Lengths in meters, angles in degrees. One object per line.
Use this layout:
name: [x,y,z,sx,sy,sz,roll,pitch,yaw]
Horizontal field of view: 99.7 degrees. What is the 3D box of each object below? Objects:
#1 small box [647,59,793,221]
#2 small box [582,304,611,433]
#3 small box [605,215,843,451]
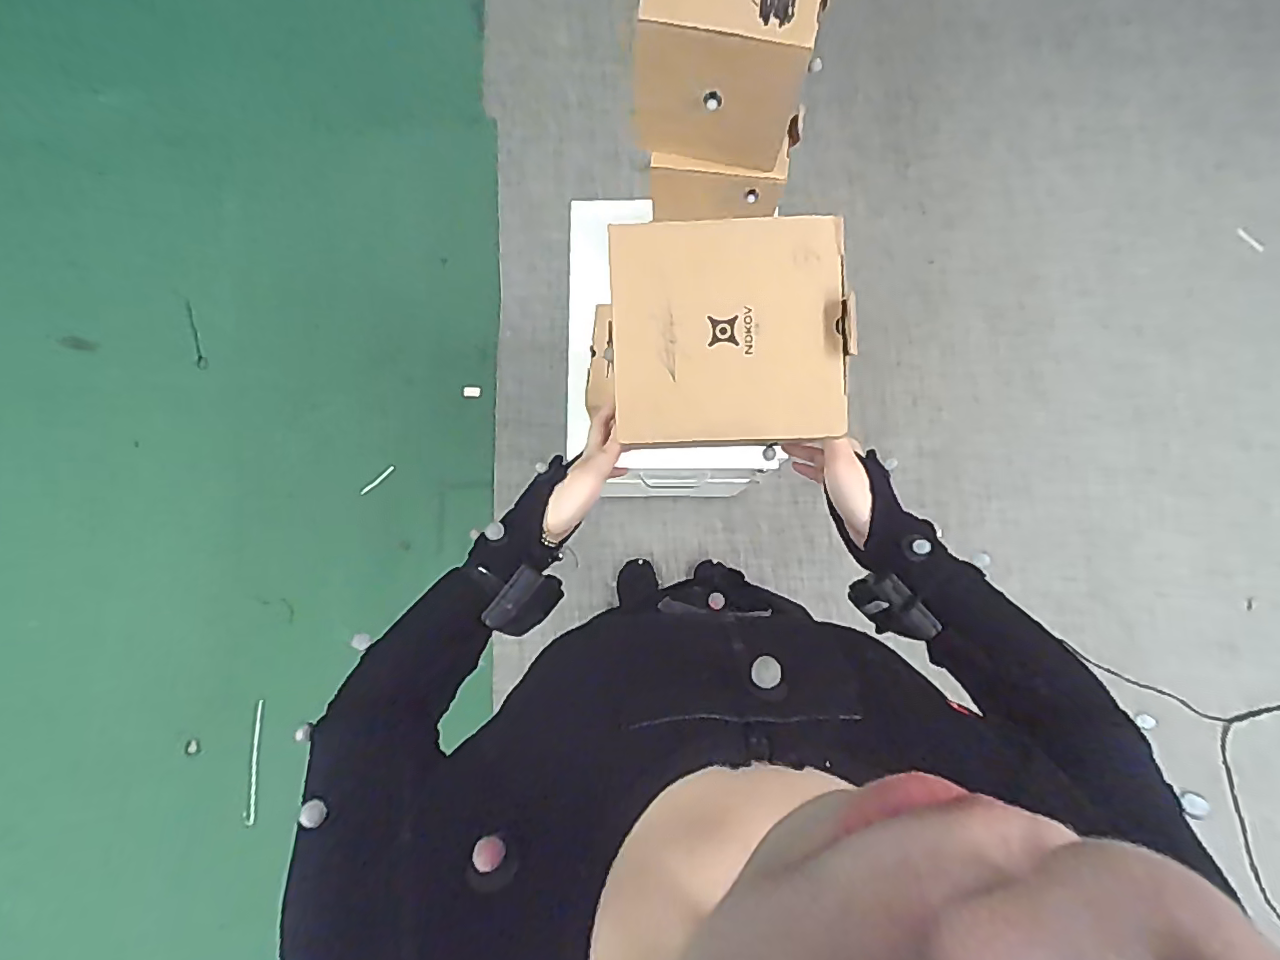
small box: [0.106,-0.451,0.772,0.179,0.176,0.168,6,82,1]
small box: [0.008,-0.169,0.894,0.179,0.176,0.168,6,81,0]
small box: [0.064,-0.114,0.483,0.179,0.176,0.168,-2,90,2]
